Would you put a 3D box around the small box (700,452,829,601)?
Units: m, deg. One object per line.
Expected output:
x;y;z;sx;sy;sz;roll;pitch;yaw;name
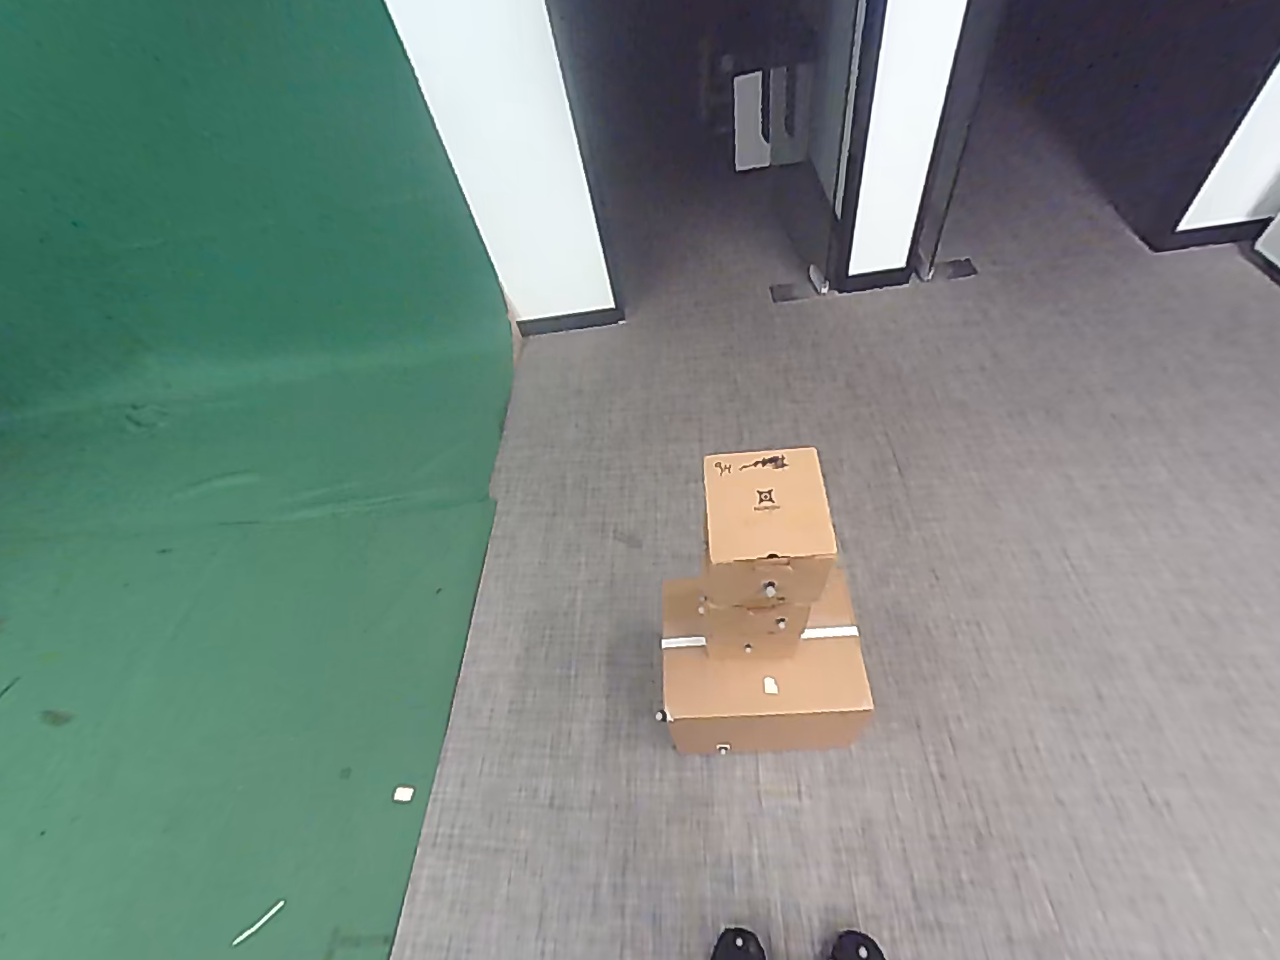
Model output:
0.183;0.080;0.825;0.168;0.176;0.179;-4;58;8;small box

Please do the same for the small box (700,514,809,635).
0.198;0.169;0.961;0.168;0.176;0.179;-5;56;7;small box

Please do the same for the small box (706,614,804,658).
0.222;0.257;1.095;0.179;0.176;0.168;-6;58;7;small box
